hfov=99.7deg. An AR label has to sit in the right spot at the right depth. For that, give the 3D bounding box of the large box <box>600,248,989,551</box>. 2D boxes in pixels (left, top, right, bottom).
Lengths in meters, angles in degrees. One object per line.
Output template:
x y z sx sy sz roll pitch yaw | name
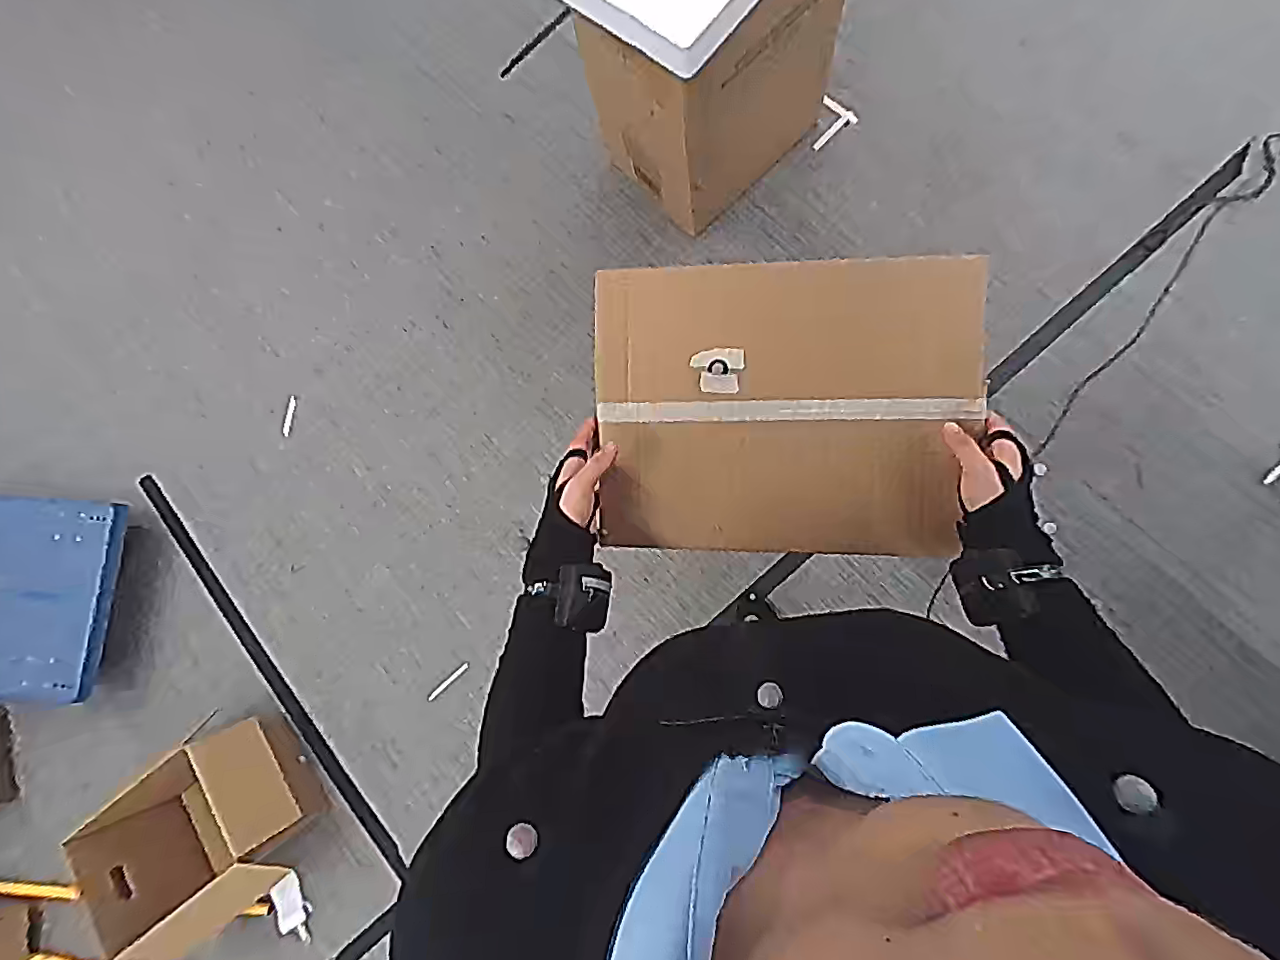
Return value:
0.179 -0.094 0.727 0.408 0.320 0.320 1 95 9 | large box
